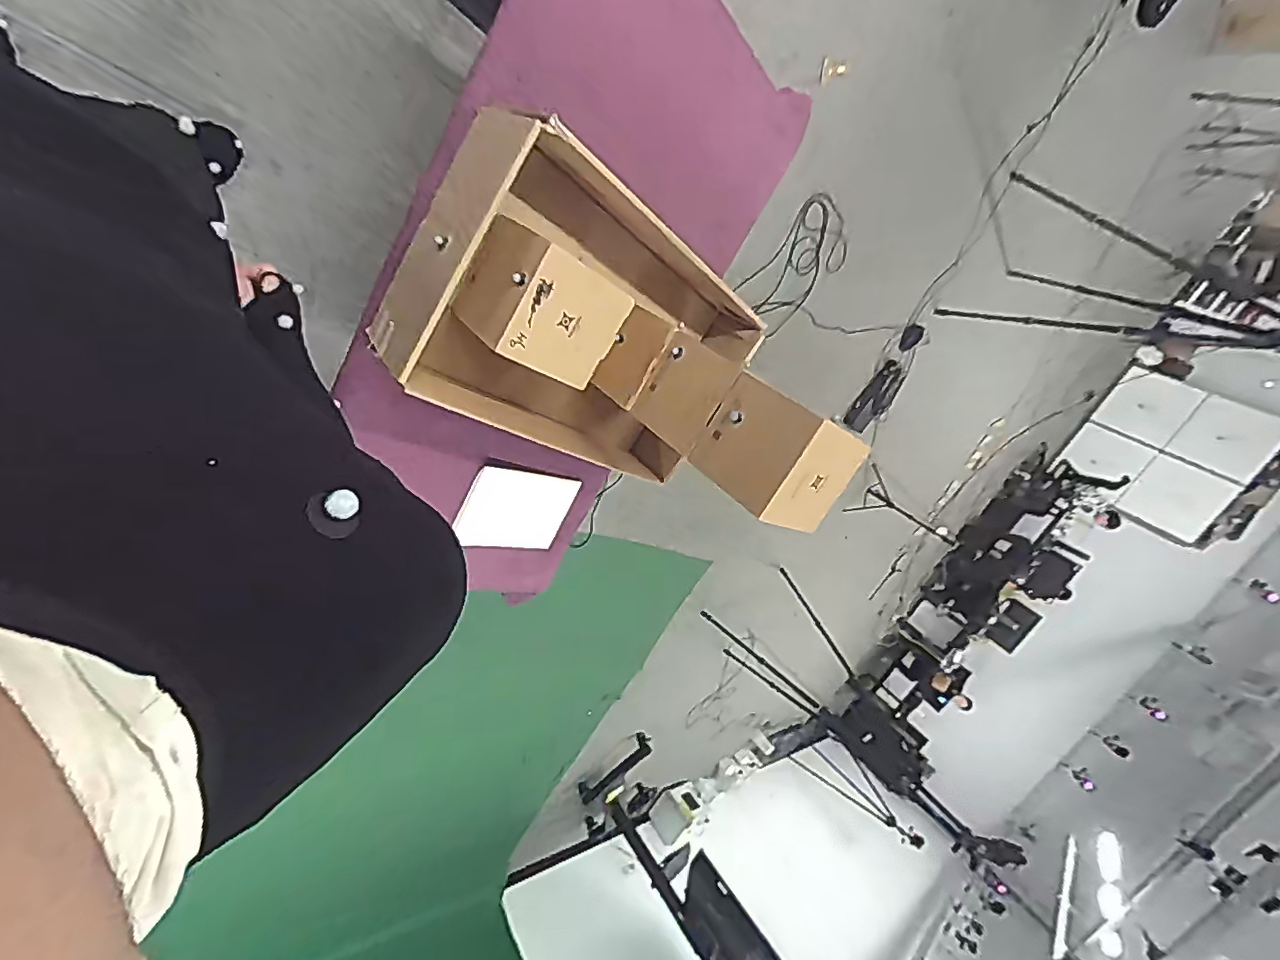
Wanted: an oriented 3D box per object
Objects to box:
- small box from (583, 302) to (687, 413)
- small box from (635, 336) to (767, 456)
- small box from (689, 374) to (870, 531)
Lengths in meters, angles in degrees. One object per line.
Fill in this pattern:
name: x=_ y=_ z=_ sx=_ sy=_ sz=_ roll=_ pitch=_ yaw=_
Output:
small box: x=0.024 y=-0.219 z=1.041 sx=0.179 sy=0.176 sz=0.168 roll=17 pitch=110 yaw=-47
small box: x=0.122 y=-0.130 z=0.943 sx=0.179 sy=0.176 sz=0.168 roll=15 pitch=111 yaw=-48
small box: x=0.212 y=-0.043 z=0.839 sx=0.179 sy=0.176 sz=0.168 roll=16 pitch=110 yaw=-47
